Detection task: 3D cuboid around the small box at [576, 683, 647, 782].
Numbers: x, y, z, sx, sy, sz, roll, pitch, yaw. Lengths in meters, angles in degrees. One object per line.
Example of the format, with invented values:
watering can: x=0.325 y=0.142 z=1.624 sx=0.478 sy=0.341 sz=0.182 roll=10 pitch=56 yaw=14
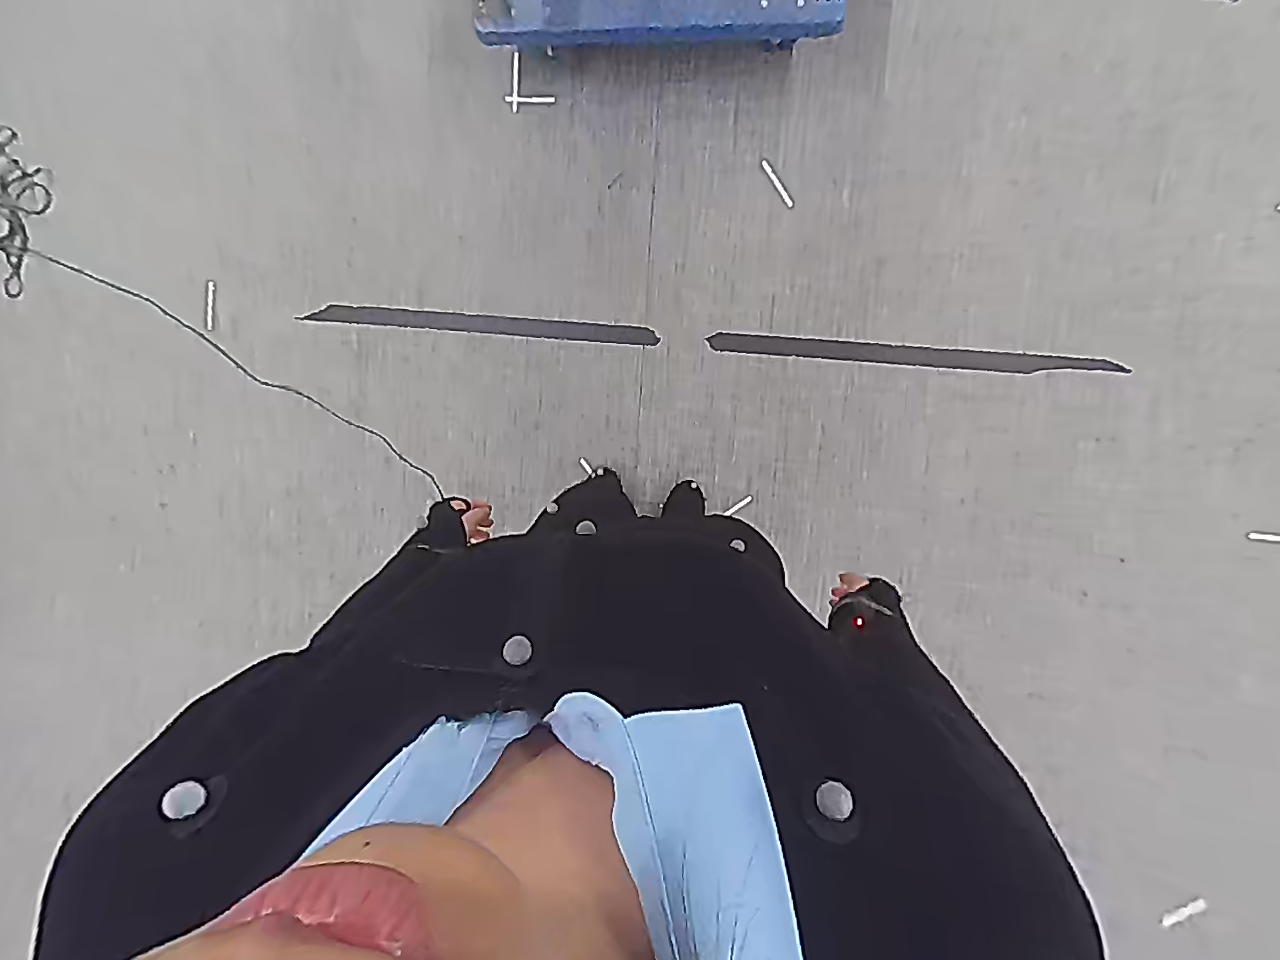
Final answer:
small box: x=-0.071 y=0.671 z=1.448 sx=0.168 sy=0.176 sz=0.179 roll=3 pitch=93 yaw=5
